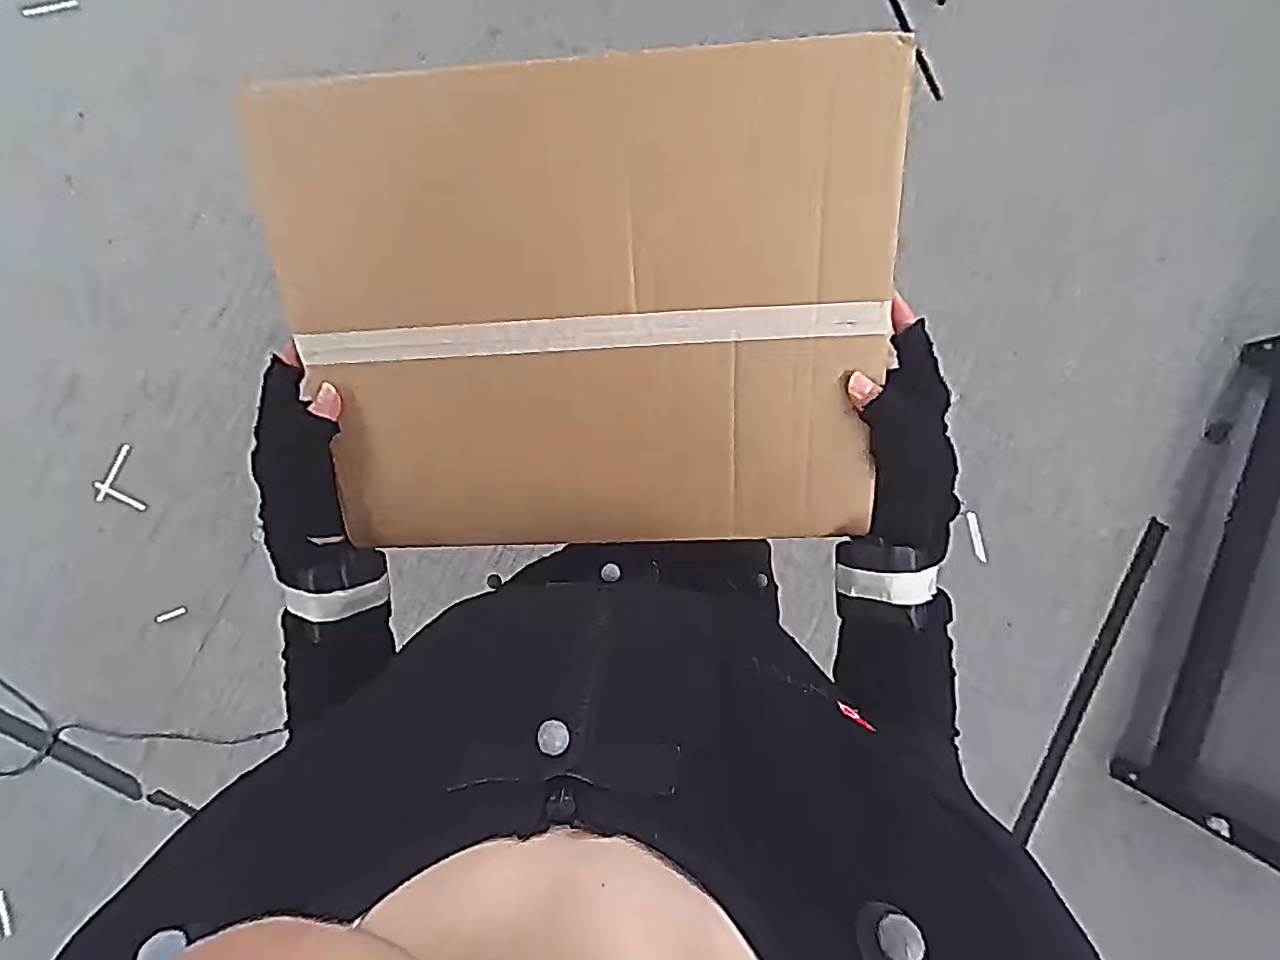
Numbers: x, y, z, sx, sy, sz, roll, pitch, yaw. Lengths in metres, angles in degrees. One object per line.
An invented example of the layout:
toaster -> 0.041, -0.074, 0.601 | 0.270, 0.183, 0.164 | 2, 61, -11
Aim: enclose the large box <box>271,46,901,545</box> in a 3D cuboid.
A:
large box -> -0.026, -0.150, 0.521 | 0.408, 0.320, 0.320 | -2, 111, 4
